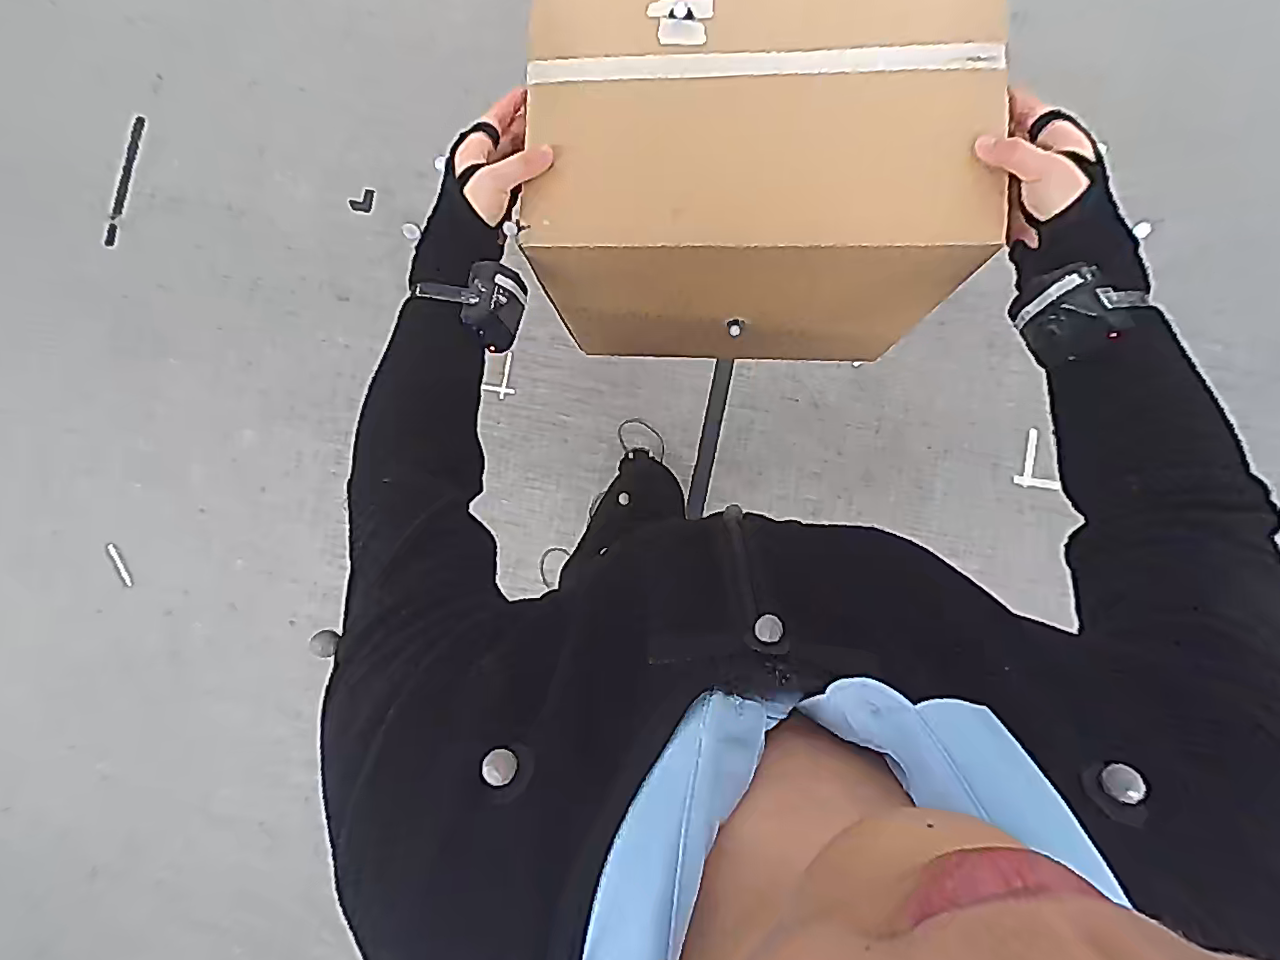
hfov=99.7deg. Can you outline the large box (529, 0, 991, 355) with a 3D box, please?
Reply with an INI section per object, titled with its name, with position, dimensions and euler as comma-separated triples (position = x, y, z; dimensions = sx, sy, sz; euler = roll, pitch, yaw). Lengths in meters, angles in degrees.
[large box]
position = 0.115, -0.340, 0.629
dimensions = 0.408, 0.320, 0.320
euler = 1, 84, 5
